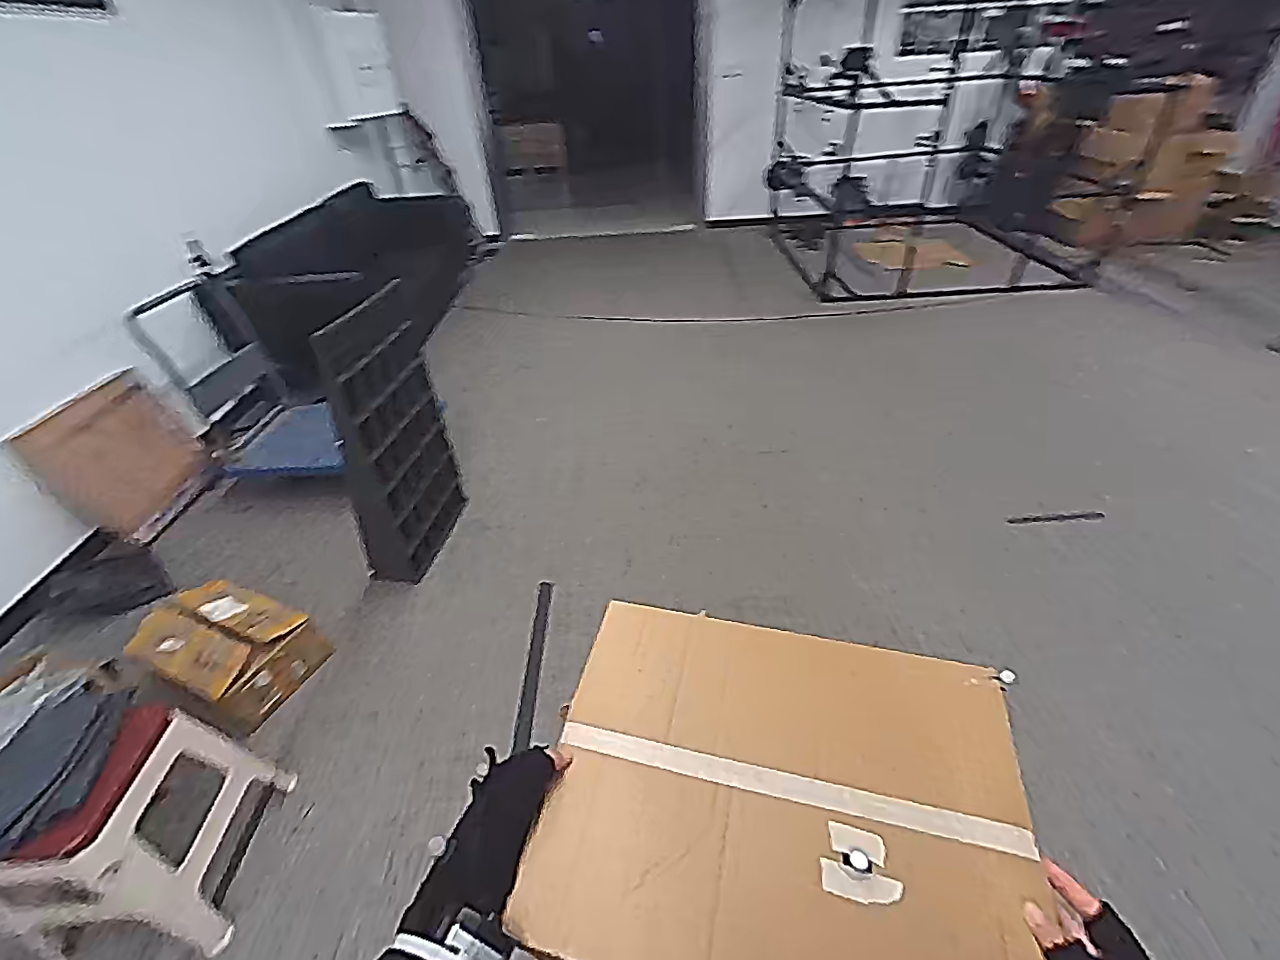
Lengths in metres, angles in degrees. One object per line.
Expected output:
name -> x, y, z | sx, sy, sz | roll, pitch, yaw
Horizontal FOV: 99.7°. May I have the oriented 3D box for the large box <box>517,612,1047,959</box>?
large box -> 0.138, 0.391, 0.592 | 0.408, 0.320, 0.320 | 8, 45, 15
